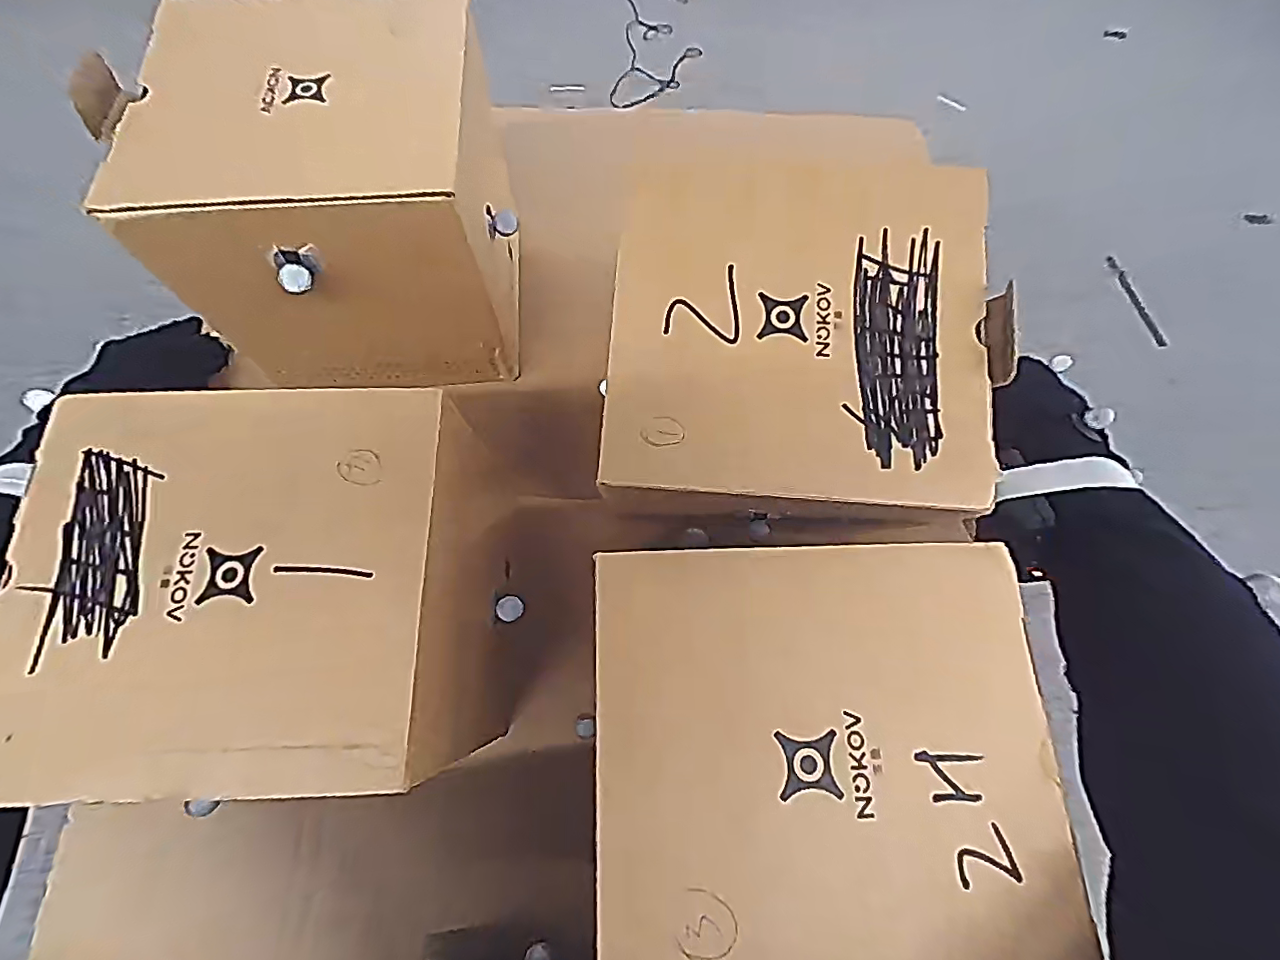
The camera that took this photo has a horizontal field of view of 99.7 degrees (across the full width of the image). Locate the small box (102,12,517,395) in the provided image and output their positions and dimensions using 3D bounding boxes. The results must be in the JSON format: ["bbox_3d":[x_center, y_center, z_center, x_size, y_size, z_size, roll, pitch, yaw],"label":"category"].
[{"bbox_3d":[-0.185,-0.173,0.372,0.179,0.176,0.168,-4,68,-2],"label":"small box"}]
